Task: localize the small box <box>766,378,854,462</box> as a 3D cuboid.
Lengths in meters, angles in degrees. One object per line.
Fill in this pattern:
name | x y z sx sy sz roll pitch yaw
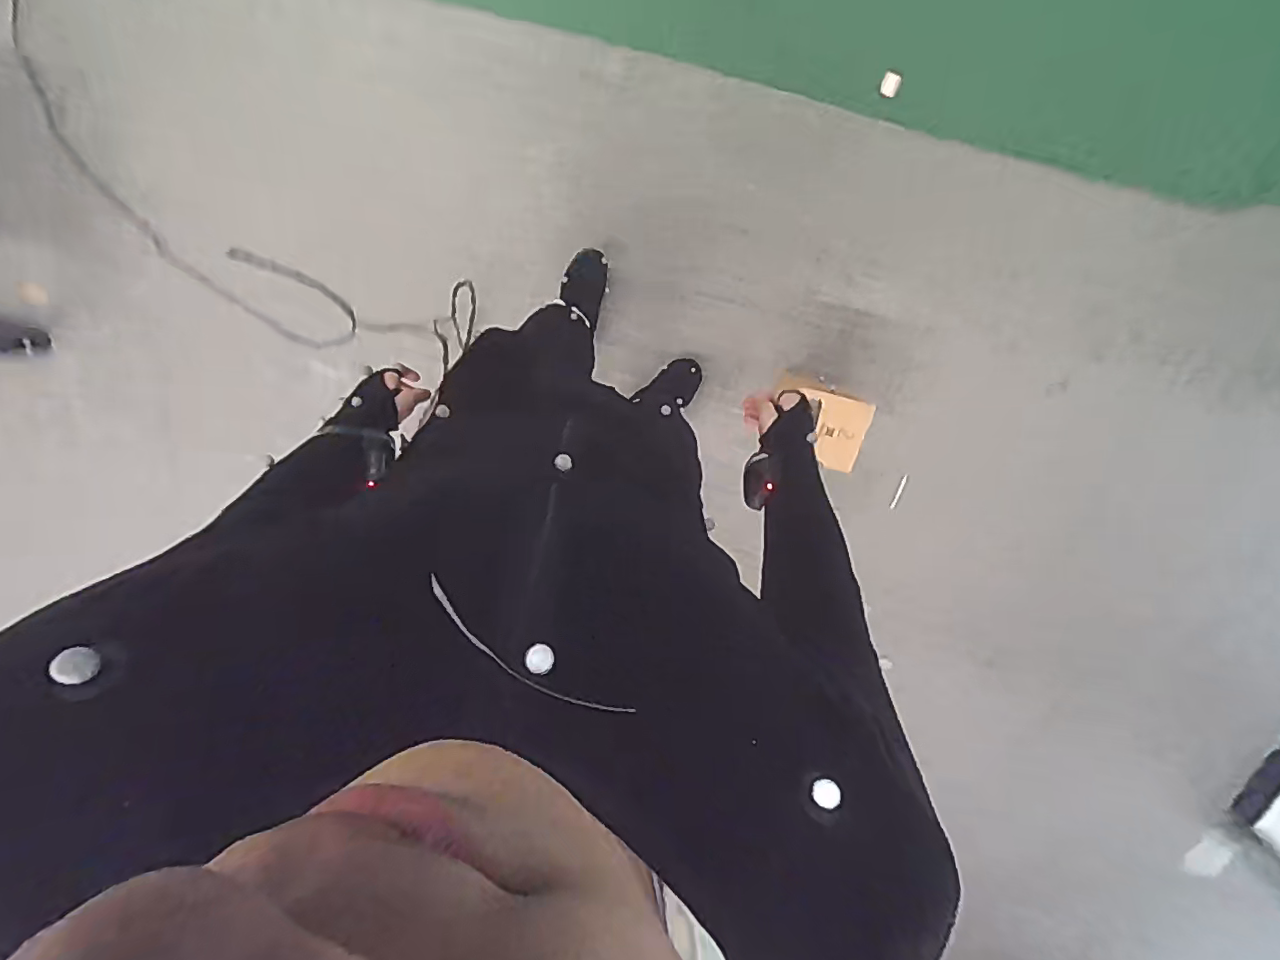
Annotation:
small box | 0.451 -0.169 1.468 0.168 0.176 0.179 16 108 1
